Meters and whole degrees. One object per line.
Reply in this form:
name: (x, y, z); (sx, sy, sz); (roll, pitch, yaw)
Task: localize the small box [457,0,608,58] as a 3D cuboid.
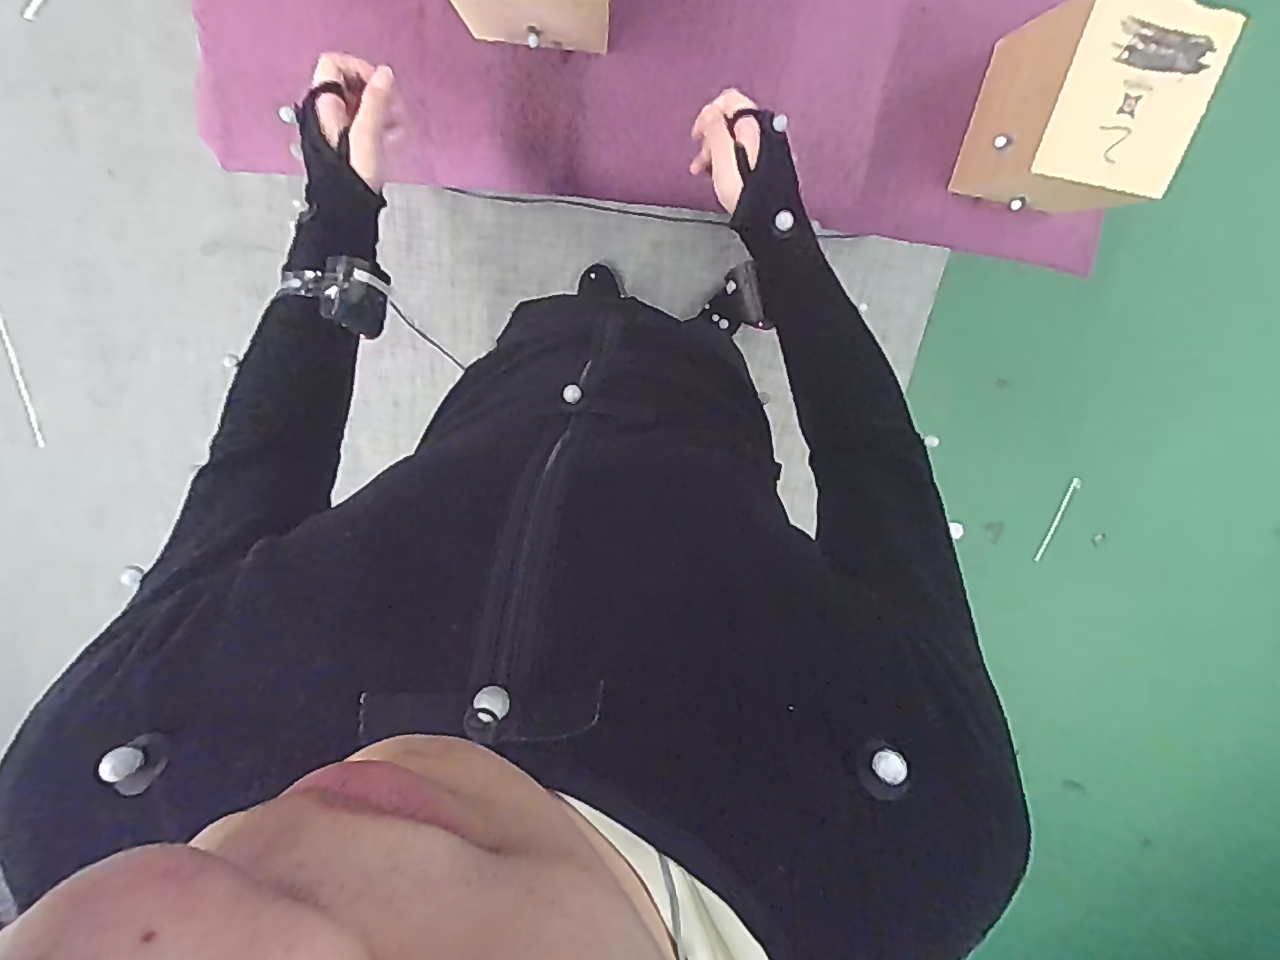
small box: (-0.115, -0.586, 0.569); (0.168, 0.176, 0.179); (4, 113, -4)
